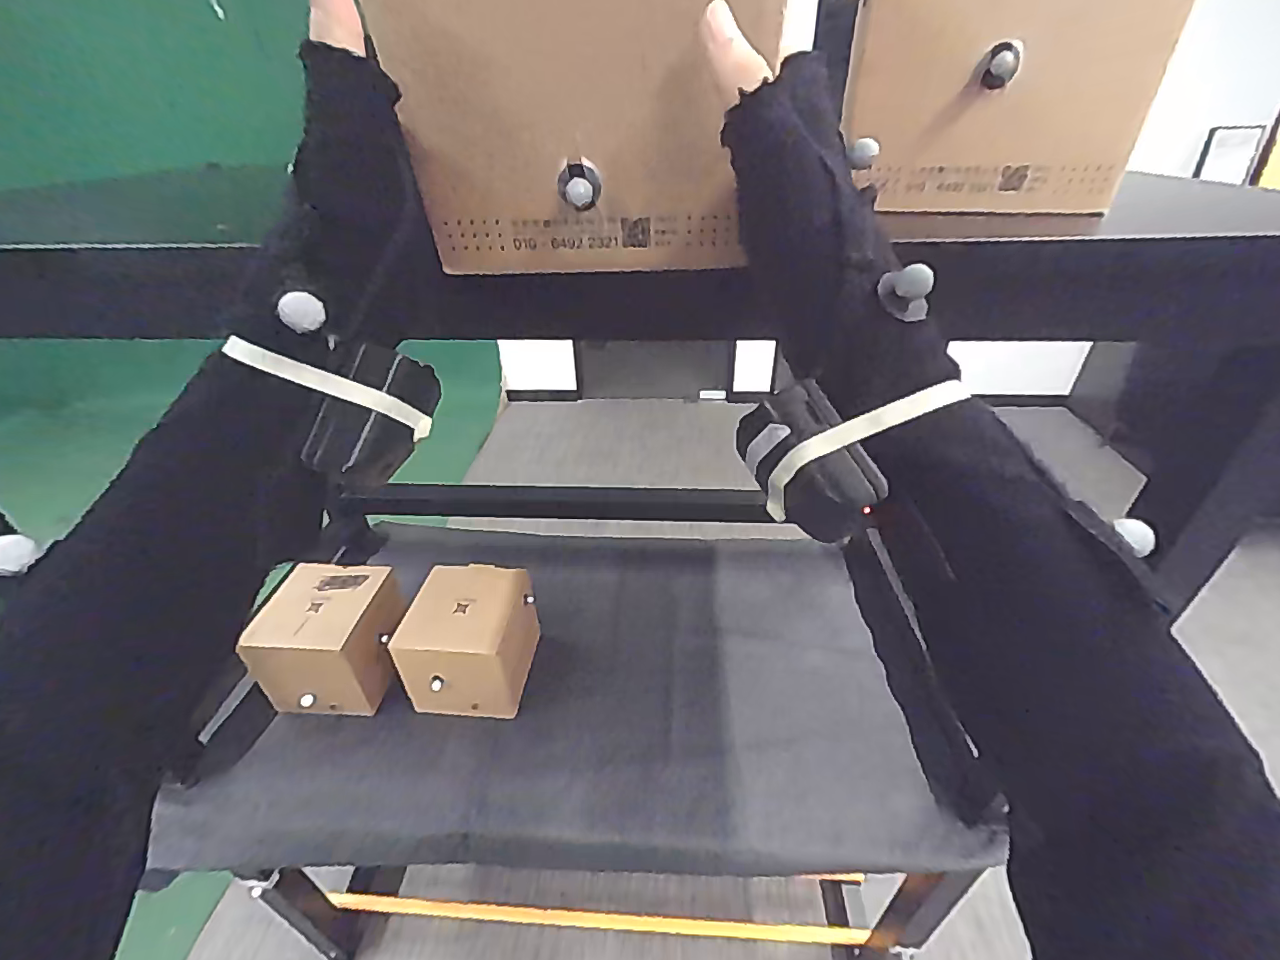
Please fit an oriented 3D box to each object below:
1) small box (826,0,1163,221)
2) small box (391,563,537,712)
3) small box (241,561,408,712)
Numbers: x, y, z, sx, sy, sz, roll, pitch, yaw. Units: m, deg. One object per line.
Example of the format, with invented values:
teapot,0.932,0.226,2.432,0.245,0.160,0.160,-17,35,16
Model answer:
small box,0.237,-0.293,0.396,0.168,0.176,0.179,8,35,13
small box,-0.276,0.261,0.899,0.168,0.176,0.179,2,34,4
small box,-0.504,0.258,0.904,0.168,0.176,0.179,1,35,3
